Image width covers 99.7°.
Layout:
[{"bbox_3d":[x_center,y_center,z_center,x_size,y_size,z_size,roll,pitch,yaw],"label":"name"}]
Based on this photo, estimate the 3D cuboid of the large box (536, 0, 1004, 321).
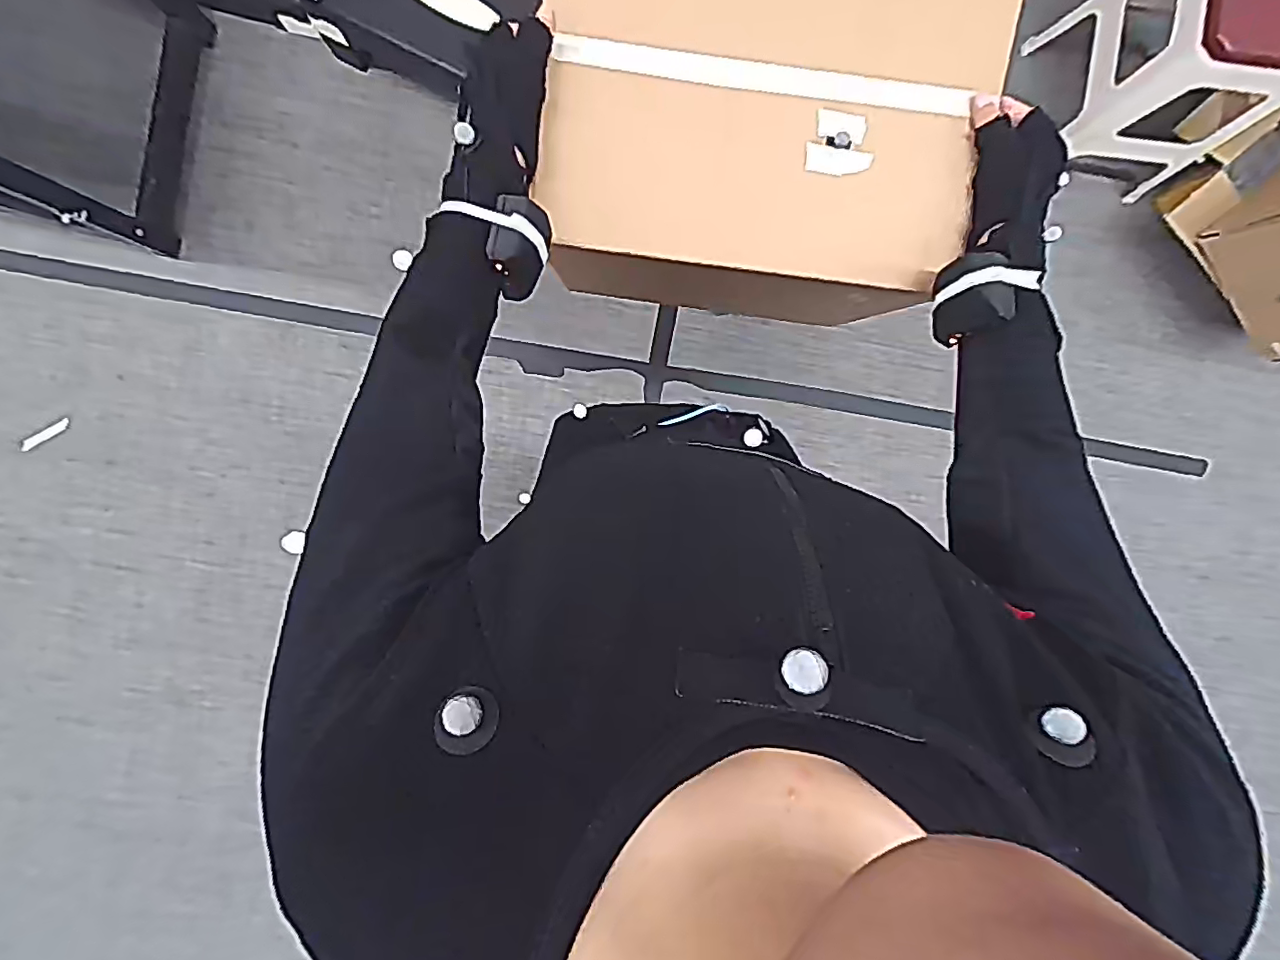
[{"bbox_3d":[0.109,-0.379,0.632,0.408,0.320,0.320,6,101,-3],"label":"large box"}]
